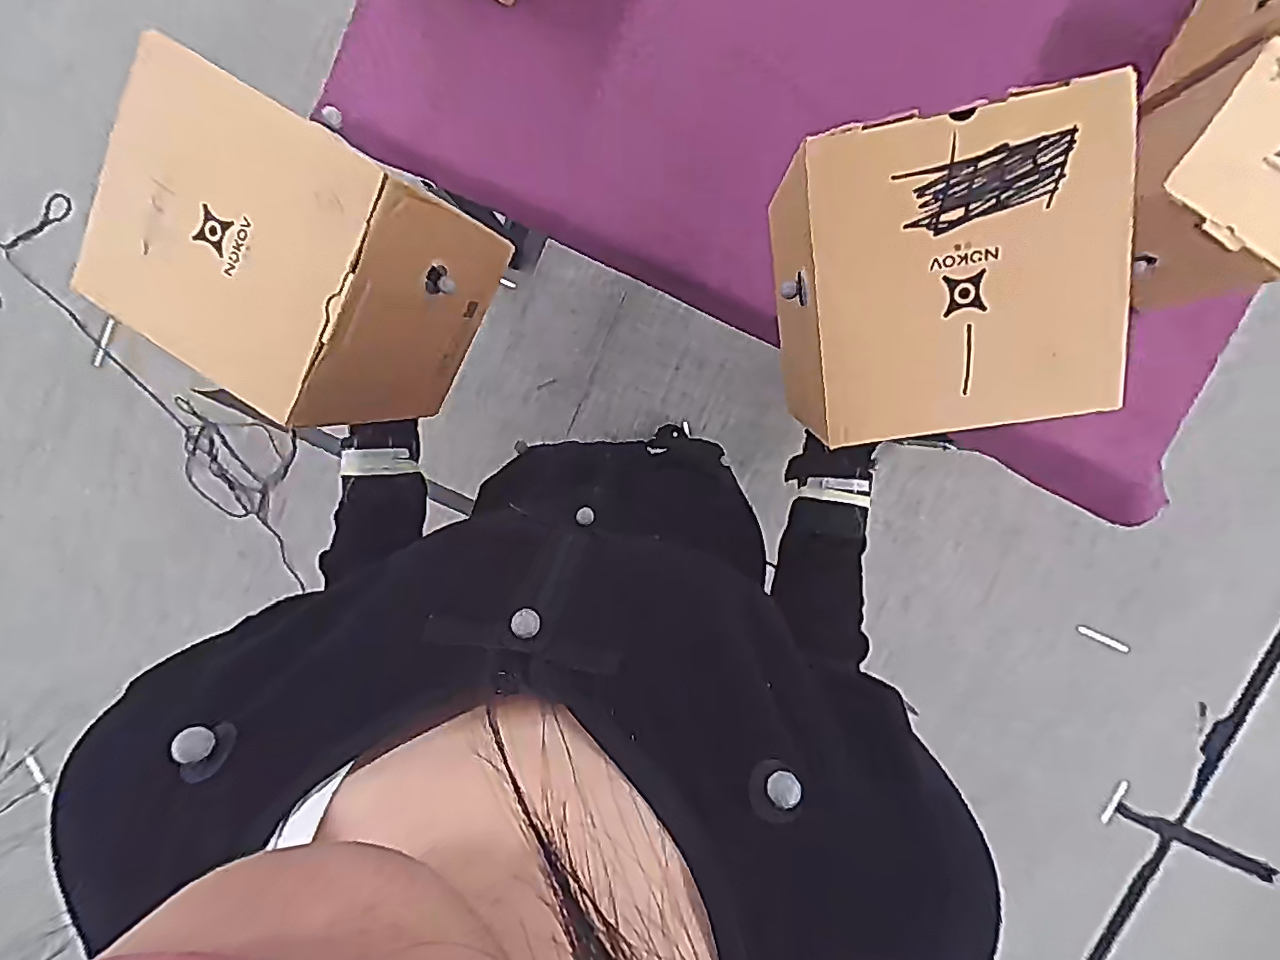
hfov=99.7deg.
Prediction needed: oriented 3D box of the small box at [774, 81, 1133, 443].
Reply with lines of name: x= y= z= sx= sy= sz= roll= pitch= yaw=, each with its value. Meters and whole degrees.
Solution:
small box: x=0.195 y=-0.134 z=0.386 sx=0.168 sy=0.176 sz=0.179 roll=-7 pitch=104 yaw=8

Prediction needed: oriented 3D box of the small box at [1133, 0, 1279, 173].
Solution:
small box: x=0.727 y=-0.496 z=0.607 sx=0.168 sy=0.176 sz=0.179 roll=28 pitch=95 yaw=-3

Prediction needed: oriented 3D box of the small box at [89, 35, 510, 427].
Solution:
small box: x=-0.226 y=-0.158 z=0.399 sx=0.179 sy=0.176 sz=0.168 roll=32 pitch=103 yaw=5
